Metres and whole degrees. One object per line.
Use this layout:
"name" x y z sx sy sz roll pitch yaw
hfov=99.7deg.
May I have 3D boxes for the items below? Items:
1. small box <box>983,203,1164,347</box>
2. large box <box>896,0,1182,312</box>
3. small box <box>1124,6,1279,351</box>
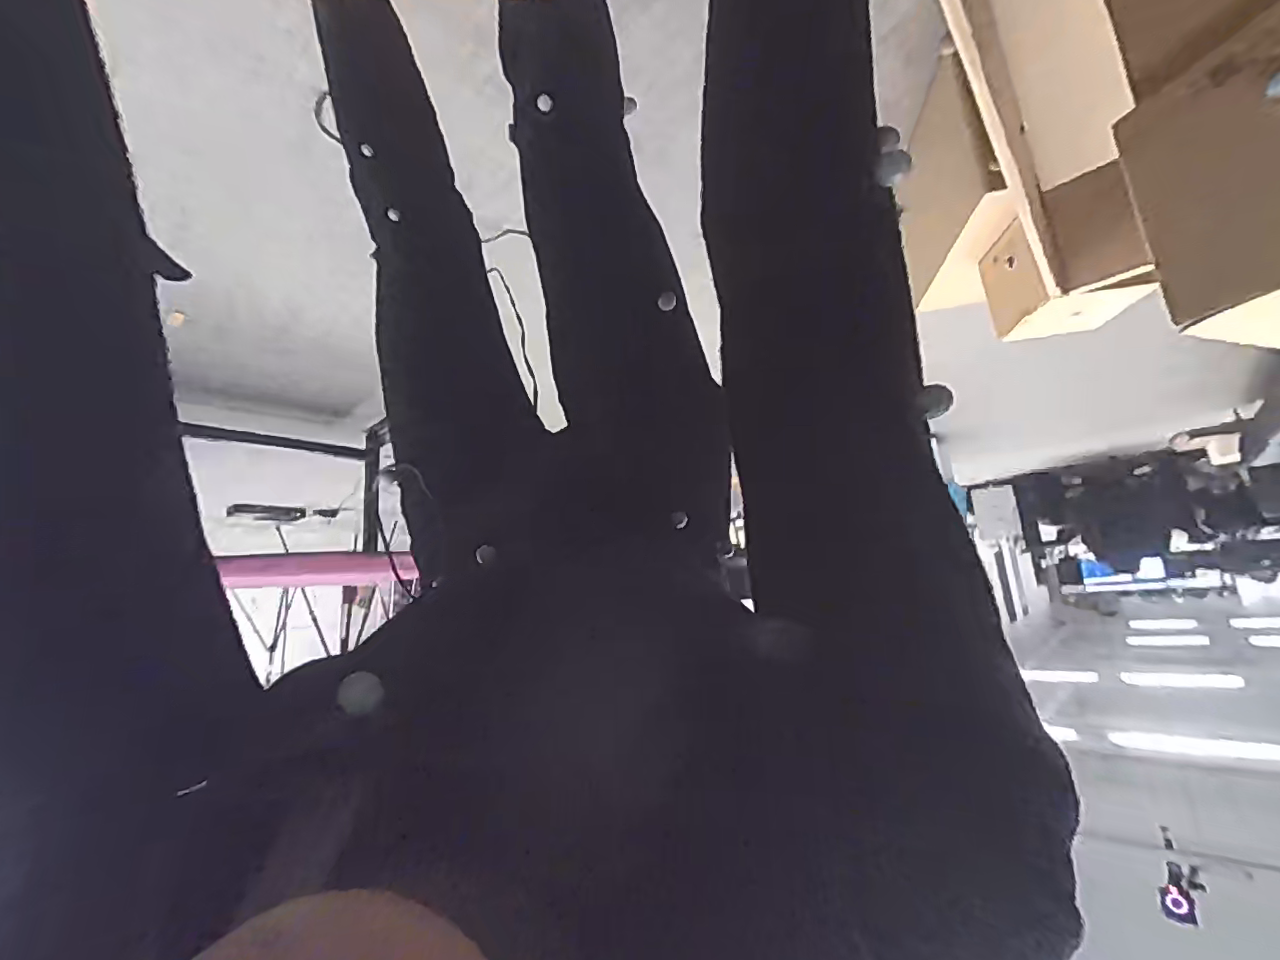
"small box" 0.749 -0.358 0.953 0.179 0.176 0.168 -7 168 7
"large box" 0.729 -0.586 1.048 0.320 0.320 0.408 -7 169 11
"small box" 0.455 -0.194 0.327 0.179 0.176 0.168 1 166 -19
